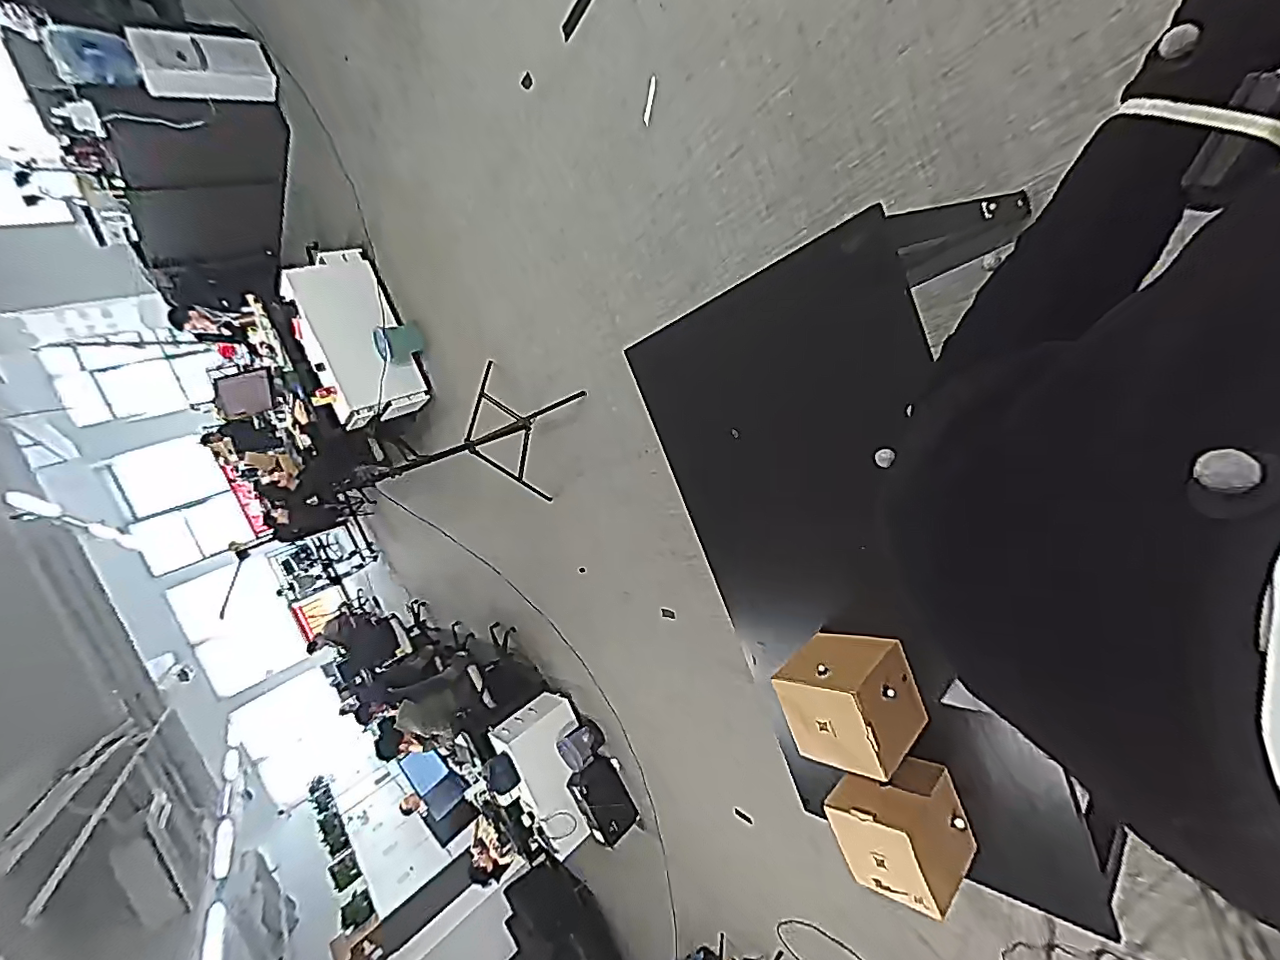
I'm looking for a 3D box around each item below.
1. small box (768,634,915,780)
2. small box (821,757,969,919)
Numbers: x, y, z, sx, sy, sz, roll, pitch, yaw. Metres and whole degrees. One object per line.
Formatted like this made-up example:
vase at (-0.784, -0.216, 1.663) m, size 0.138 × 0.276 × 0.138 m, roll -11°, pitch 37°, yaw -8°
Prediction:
small box at (0.371, 0.396, 0.980) m, size 0.179 × 0.176 × 0.168 m, roll -14°, pitch 99°, yaw 54°
small box at (0.473, 0.637, 1.001) m, size 0.168 × 0.176 × 0.179 m, roll -17°, pitch 97°, yaw 53°
